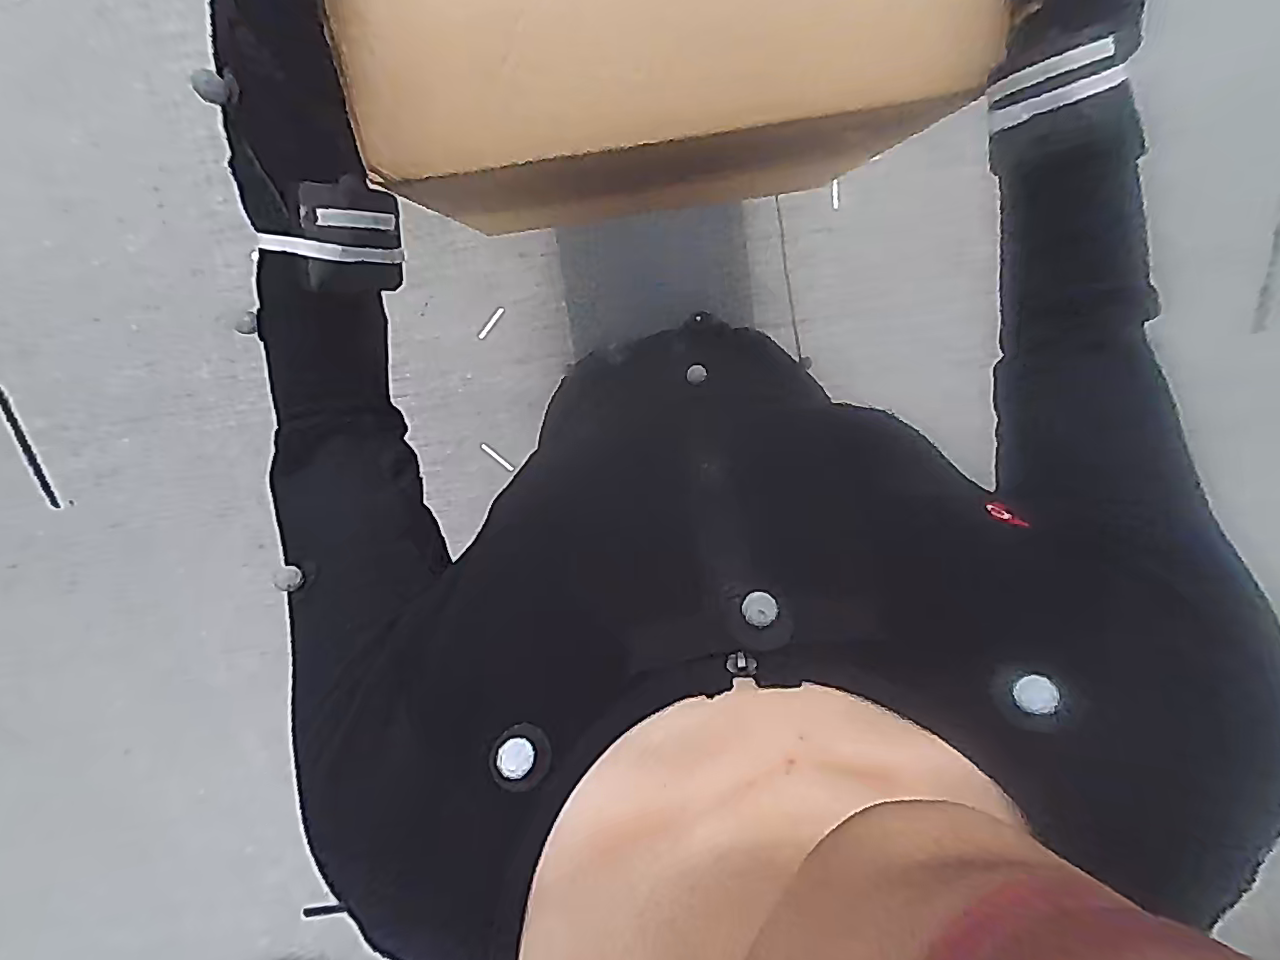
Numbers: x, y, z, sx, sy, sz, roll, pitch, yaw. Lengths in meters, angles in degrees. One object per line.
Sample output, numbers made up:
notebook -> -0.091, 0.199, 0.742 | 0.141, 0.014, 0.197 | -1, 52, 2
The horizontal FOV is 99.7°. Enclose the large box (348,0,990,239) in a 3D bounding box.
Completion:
large box -> 0.002, -0.415, 0.453 | 0.408, 0.320, 0.320 | -8, 108, 0
